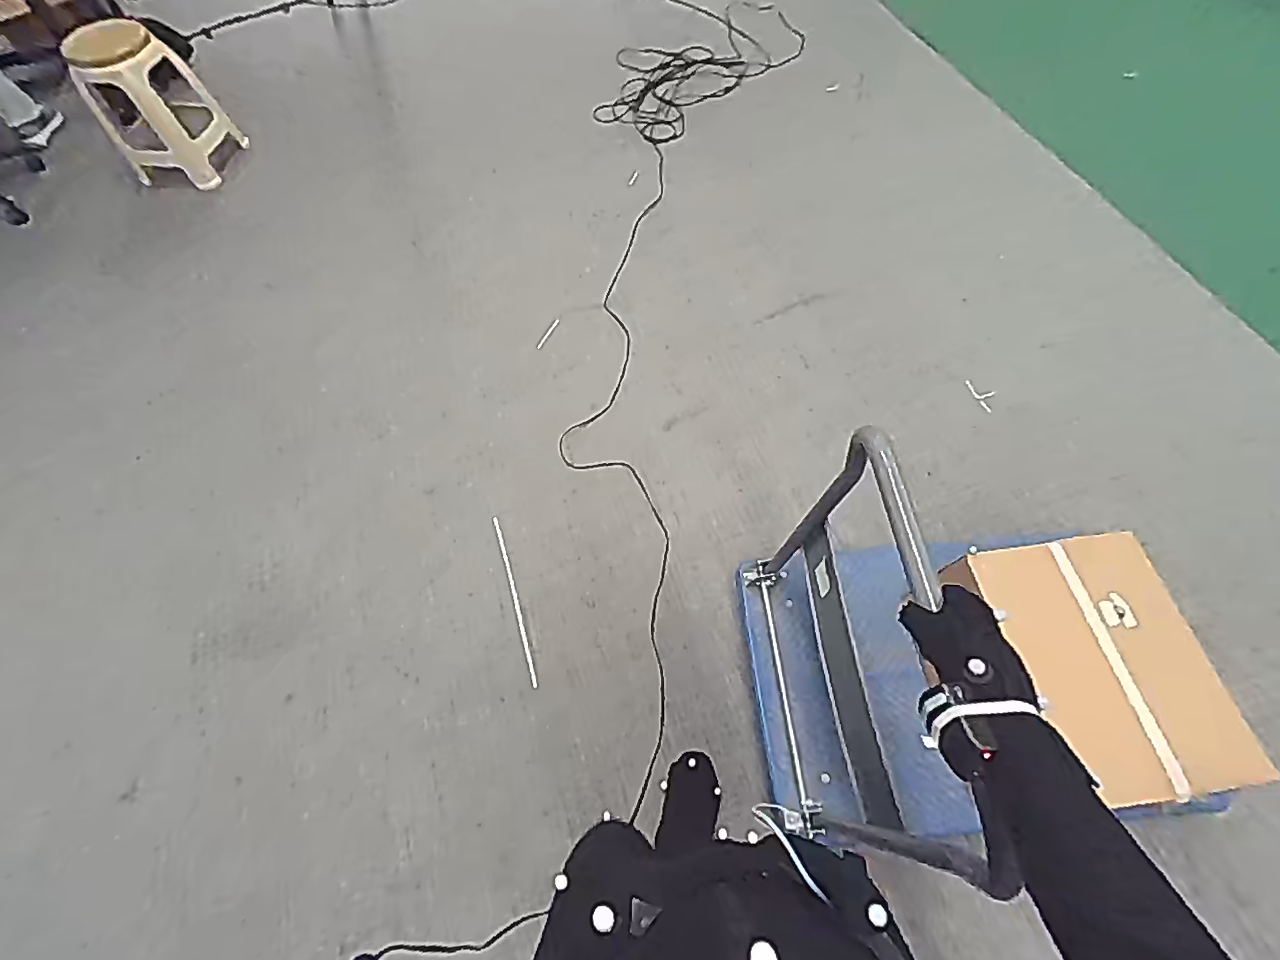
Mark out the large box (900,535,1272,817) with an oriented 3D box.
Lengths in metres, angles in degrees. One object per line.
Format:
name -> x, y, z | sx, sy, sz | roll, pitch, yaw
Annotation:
large box -> 0.756, 0.365, 1.009 | 0.320, 0.320, 0.408 | -8, 61, -3
